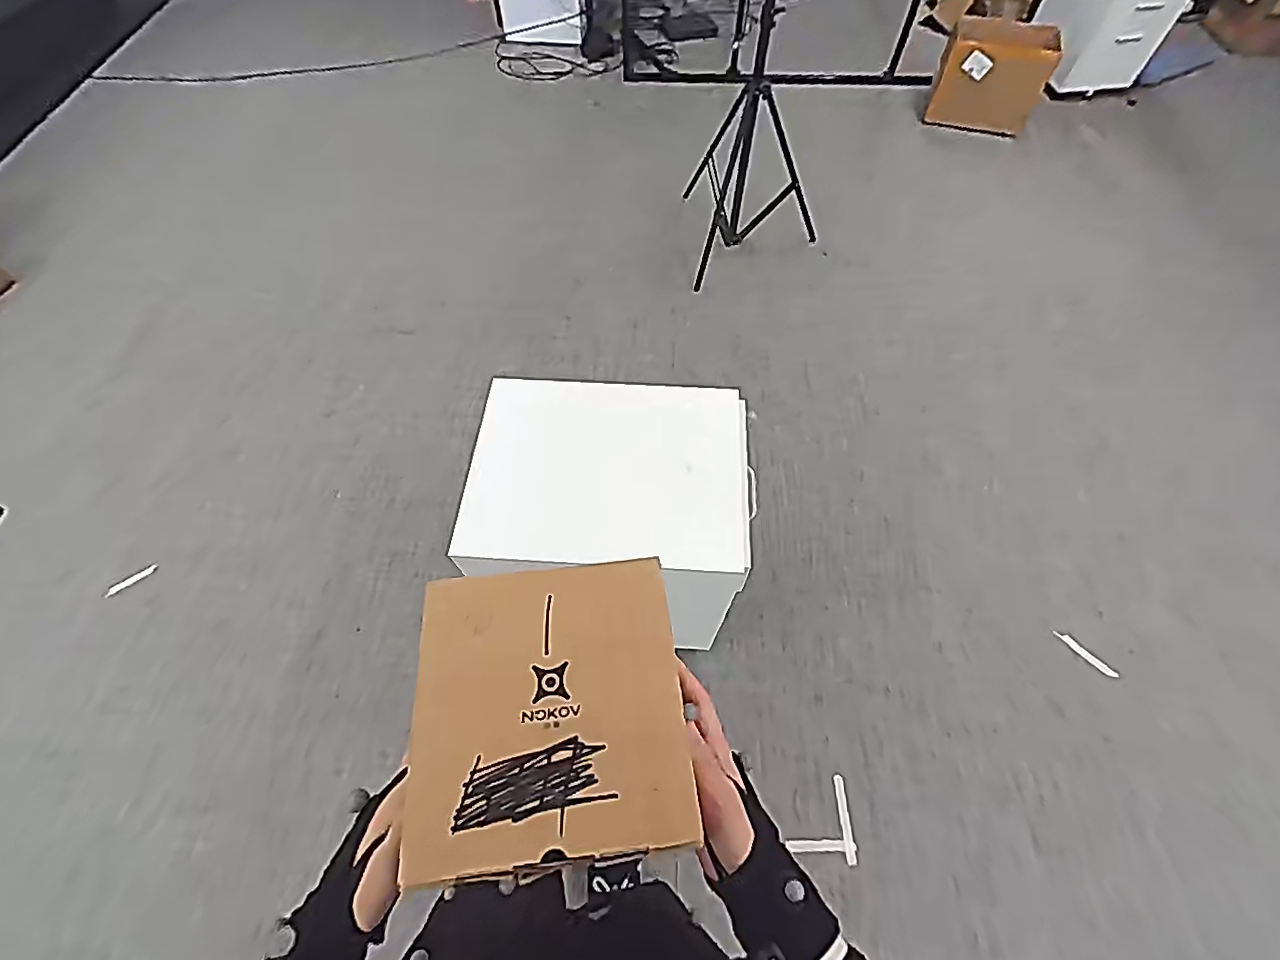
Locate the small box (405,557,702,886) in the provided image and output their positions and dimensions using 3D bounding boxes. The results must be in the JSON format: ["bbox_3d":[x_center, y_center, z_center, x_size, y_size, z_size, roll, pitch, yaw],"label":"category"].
[{"bbox_3d":[-0.054,0.178,0.402,0.168,0.176,0.179,-5,56,-4],"label":"small box"}]
